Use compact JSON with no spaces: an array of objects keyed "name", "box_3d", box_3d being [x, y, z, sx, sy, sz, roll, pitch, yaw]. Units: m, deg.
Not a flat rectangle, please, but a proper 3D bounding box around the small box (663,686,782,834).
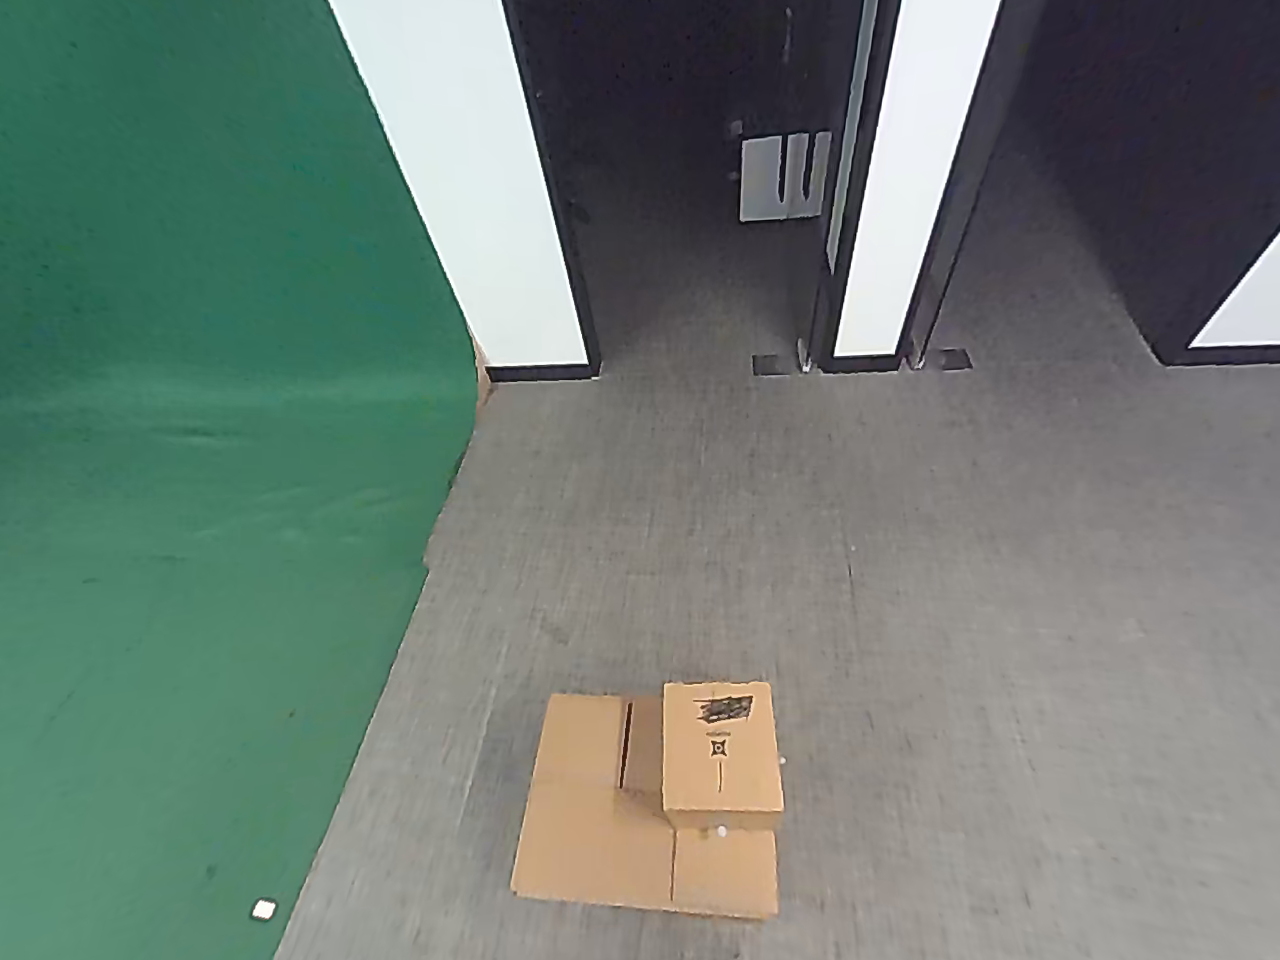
[{"name":"small box","box_3d":[0.128,0.441,0.851,0.168,0.176,0.179,-4,51,9]}]
